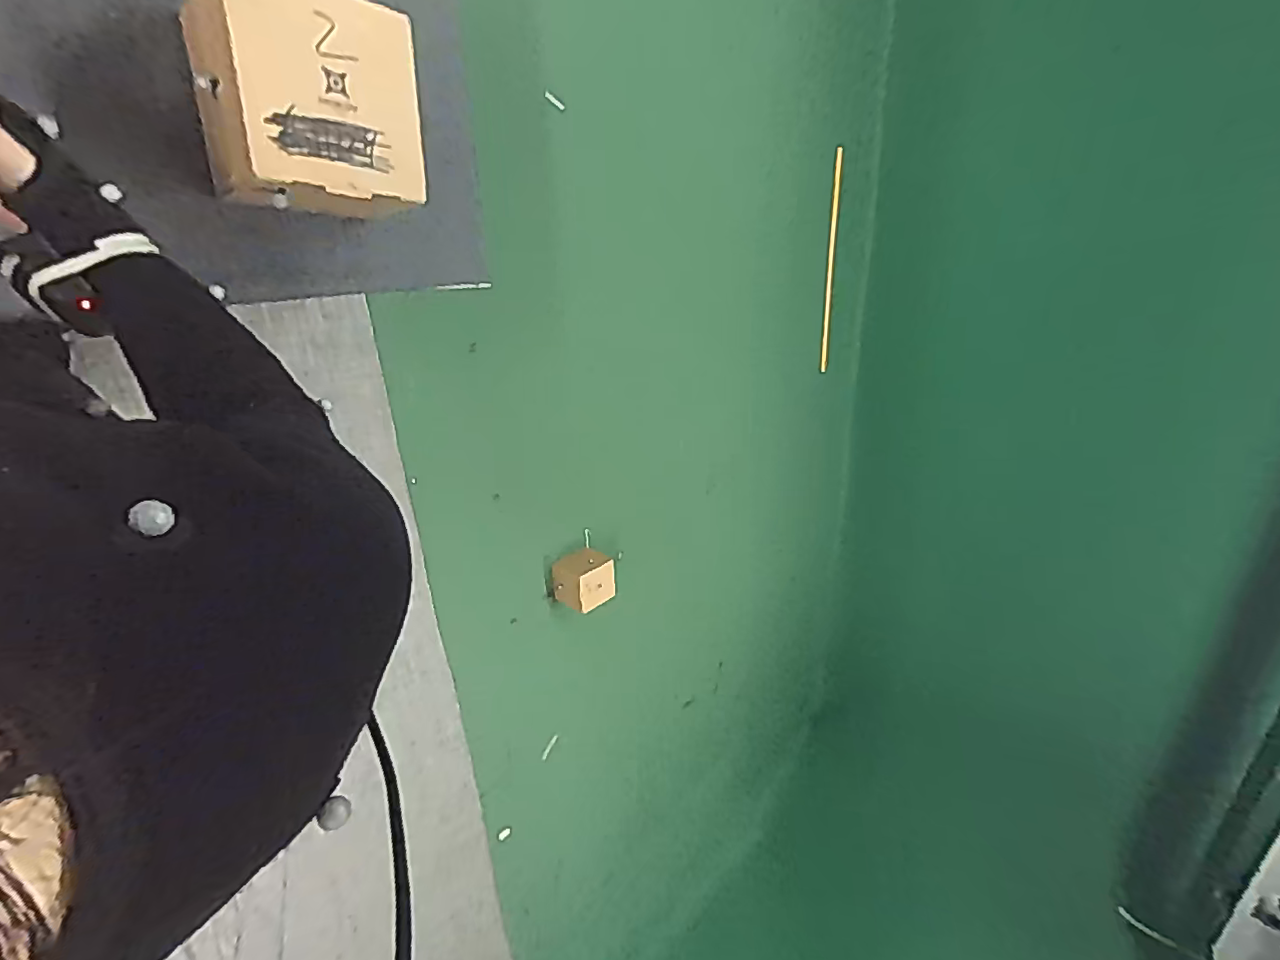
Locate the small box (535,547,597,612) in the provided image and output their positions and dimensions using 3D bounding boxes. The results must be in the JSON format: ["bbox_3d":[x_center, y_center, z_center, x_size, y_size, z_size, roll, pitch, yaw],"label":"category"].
[{"bbox_3d":[-0.288,0.381,2.106,0.179,0.176,0.168,-23,120,-44],"label":"small box"}]
